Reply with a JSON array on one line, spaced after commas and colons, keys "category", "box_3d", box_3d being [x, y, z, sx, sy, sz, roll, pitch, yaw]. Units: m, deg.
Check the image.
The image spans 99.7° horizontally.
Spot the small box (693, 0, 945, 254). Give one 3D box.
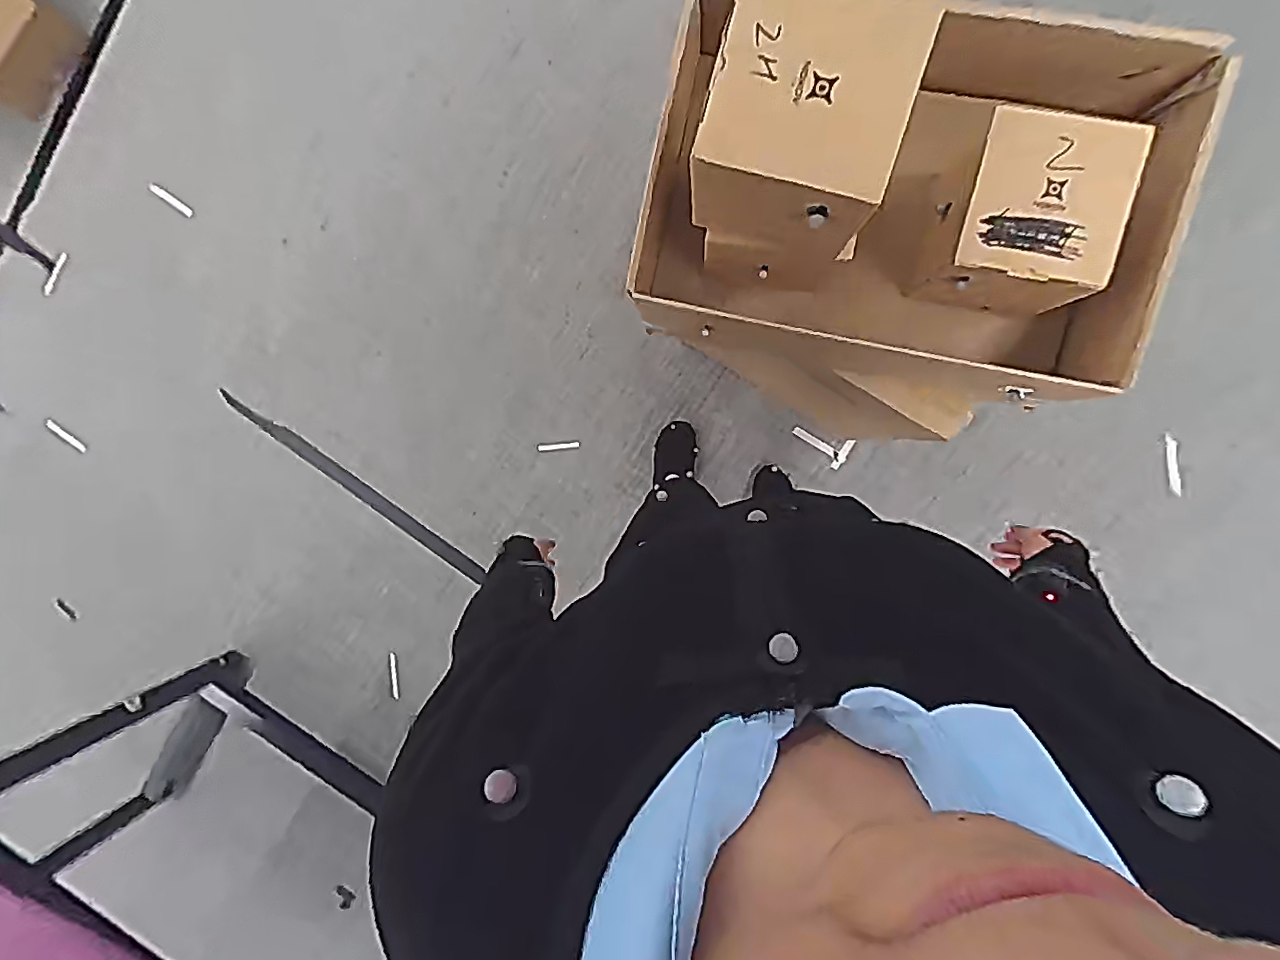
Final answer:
[{"category": "small box", "box_3d": [0.161, -0.350, 0.549, 0.179, 0.176, 0.168, 17, 97, 5]}]
